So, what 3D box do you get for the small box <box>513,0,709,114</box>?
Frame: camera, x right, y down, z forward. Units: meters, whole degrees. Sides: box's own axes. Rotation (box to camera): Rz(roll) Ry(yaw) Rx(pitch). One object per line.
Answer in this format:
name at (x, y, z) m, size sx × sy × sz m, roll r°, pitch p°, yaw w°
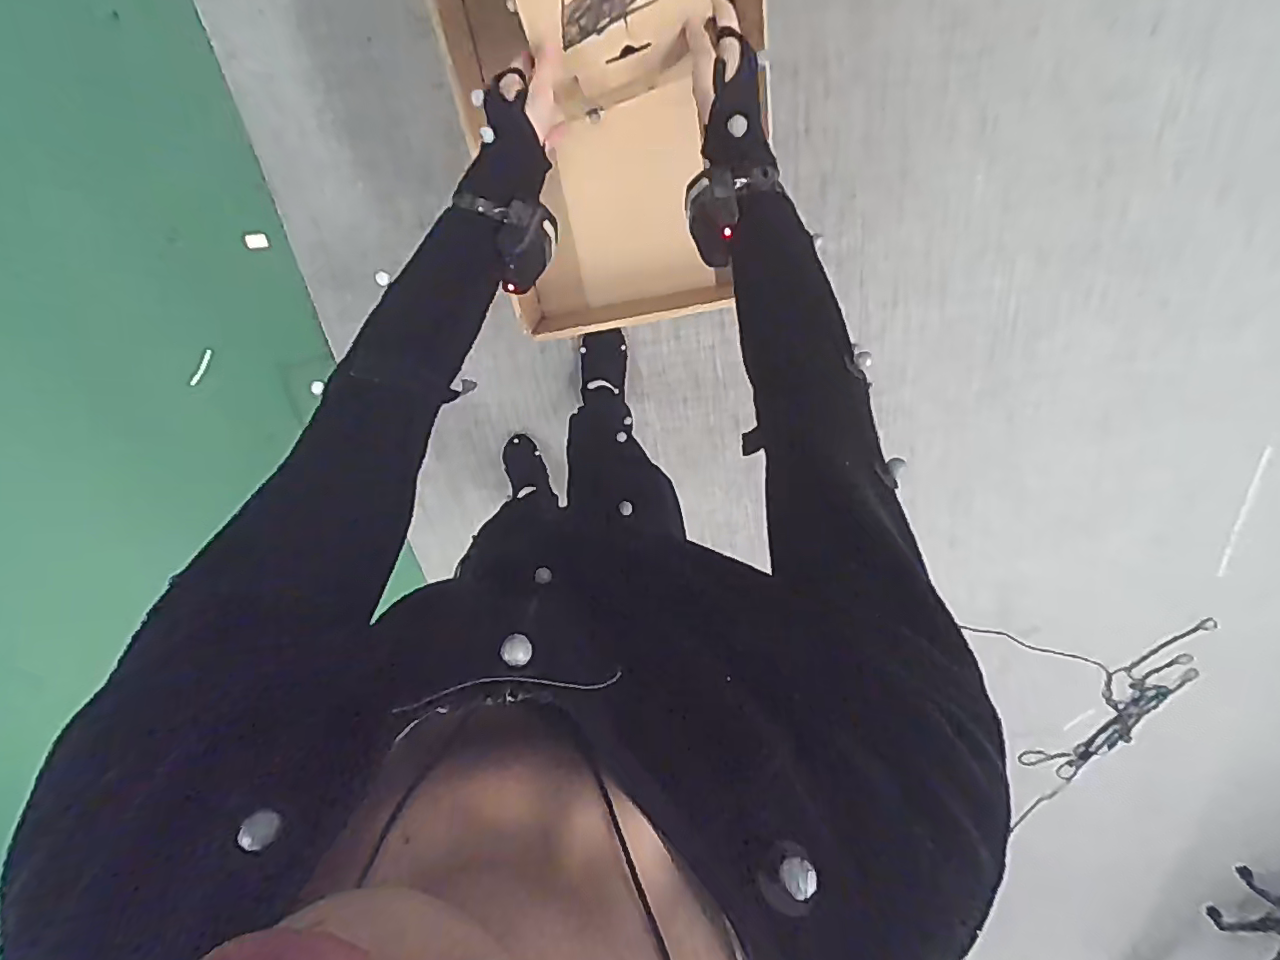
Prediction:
small box at (-0.037, -0.489, 0.531) m, size 0.168 × 0.176 × 0.179 m, roll -17°, pitch 112°, yaw 8°
